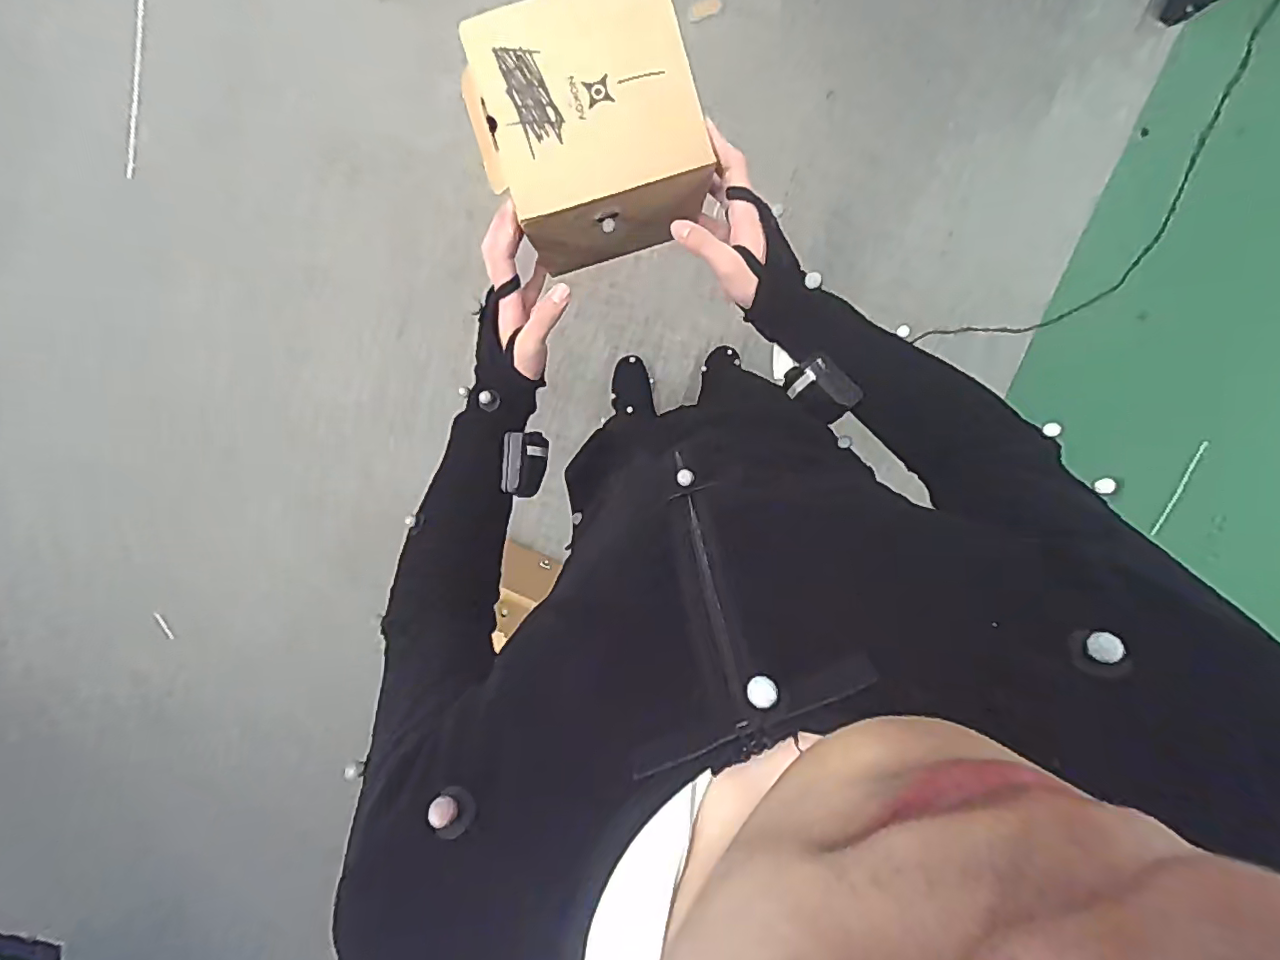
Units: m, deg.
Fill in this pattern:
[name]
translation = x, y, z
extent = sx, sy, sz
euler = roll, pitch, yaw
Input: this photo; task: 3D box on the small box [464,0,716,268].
[small box]
translation = -0.040, -0.327, 0.524
extent = 0.179, 0.176, 0.168
euler = -17, 96, 0
